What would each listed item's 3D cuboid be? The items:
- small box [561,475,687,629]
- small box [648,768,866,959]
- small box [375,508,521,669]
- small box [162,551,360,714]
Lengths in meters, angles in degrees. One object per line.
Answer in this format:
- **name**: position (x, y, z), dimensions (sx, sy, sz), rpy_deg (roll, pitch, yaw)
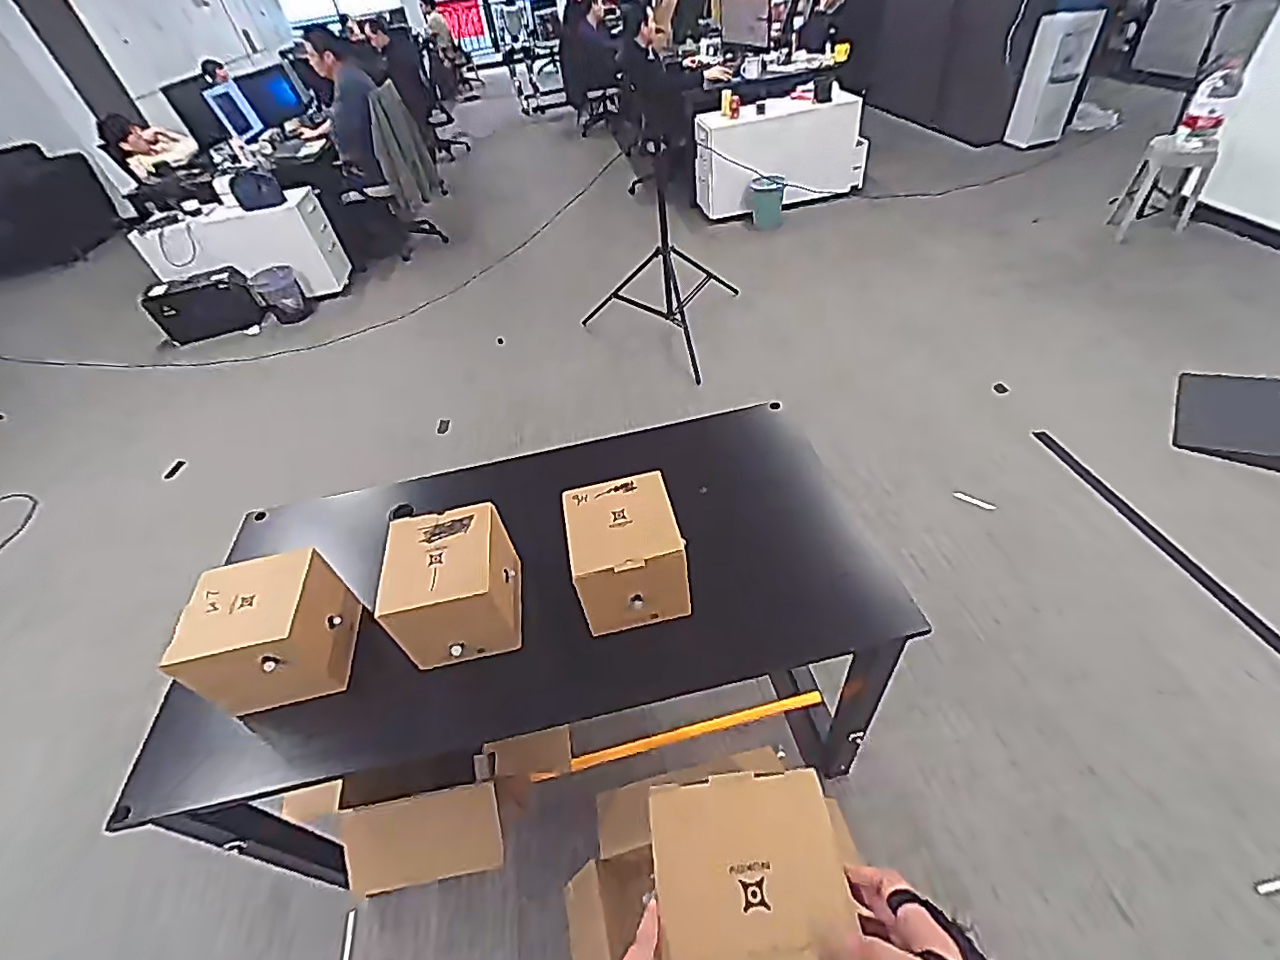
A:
- **small box**: position (-0.024, 0.123, 0.879), dimensions (0.168, 0.176, 0.179), rpy_deg (-12, 45, -3)
- **small box**: position (0.097, 0.404, 0.524), dimensions (0.168, 0.176, 0.179), rpy_deg (-6, 48, -2)
- **small box**: position (-0.295, 0.175, 0.872), dimensions (0.168, 0.176, 0.179), rpy_deg (-12, 45, -2)
- **small box**: position (-0.572, 0.241, 0.850), dimensions (0.179, 0.176, 0.168), rpy_deg (-13, 44, -4)
